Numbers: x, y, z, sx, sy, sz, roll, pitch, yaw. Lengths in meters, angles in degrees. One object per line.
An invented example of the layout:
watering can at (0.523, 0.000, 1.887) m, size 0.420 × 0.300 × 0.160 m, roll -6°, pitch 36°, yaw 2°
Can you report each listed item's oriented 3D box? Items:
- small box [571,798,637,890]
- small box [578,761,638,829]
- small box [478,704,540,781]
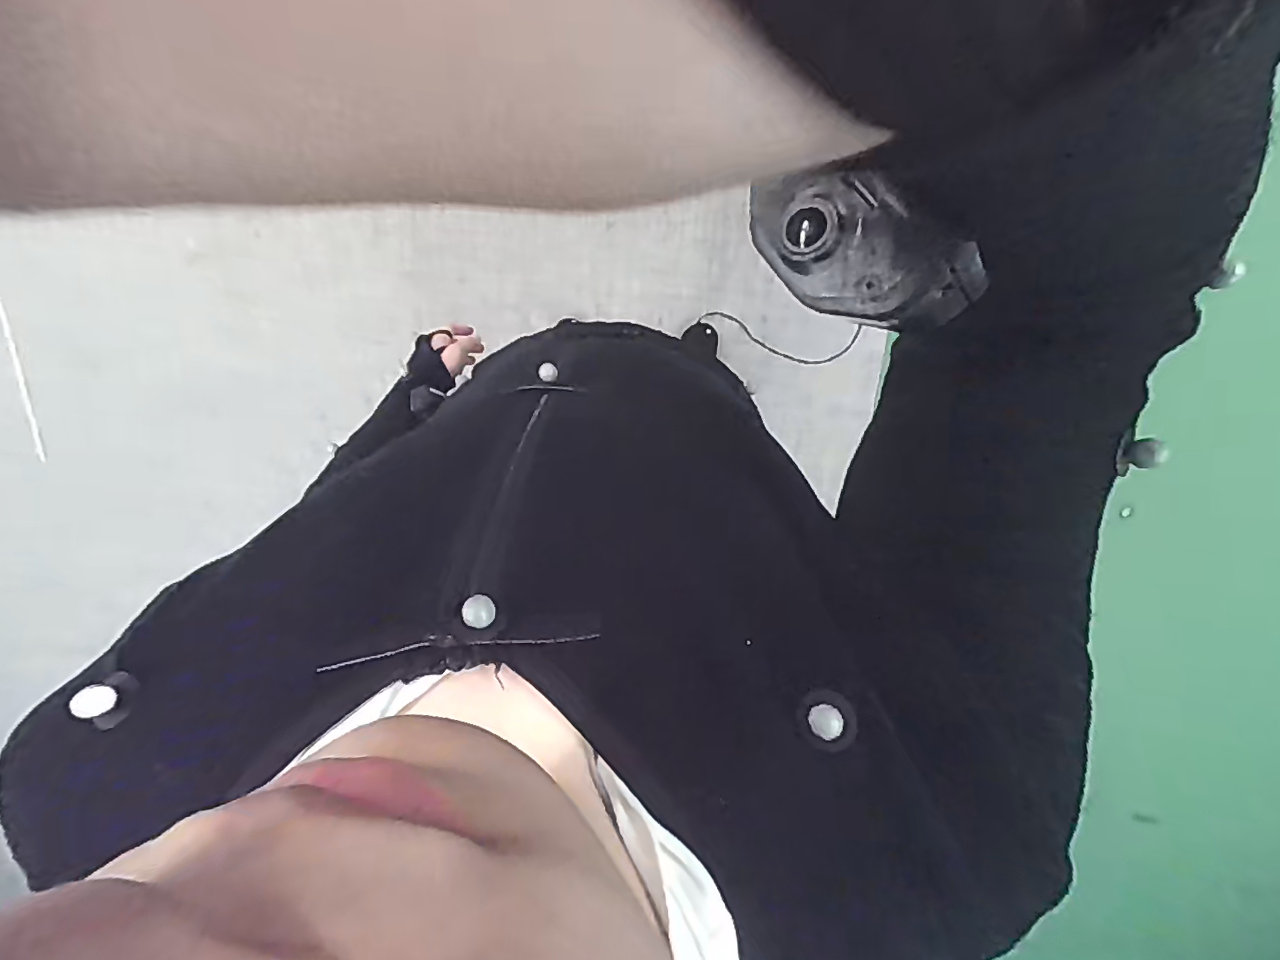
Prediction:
small box at (-0.111, 1.149, 1.716) m, size 0.179 × 0.176 × 0.168 m, roll 11°, pitch 106°, yaw -3°
small box at (-0.108, 1.110, 1.877) m, size 0.179 × 0.176 × 0.168 m, roll 11°, pitch 106°, yaw -3°
small box at (-0.434, 0.878, 1.814) m, size 0.179 × 0.176 × 0.168 m, roll 4°, pitch 106°, yaw -1°
